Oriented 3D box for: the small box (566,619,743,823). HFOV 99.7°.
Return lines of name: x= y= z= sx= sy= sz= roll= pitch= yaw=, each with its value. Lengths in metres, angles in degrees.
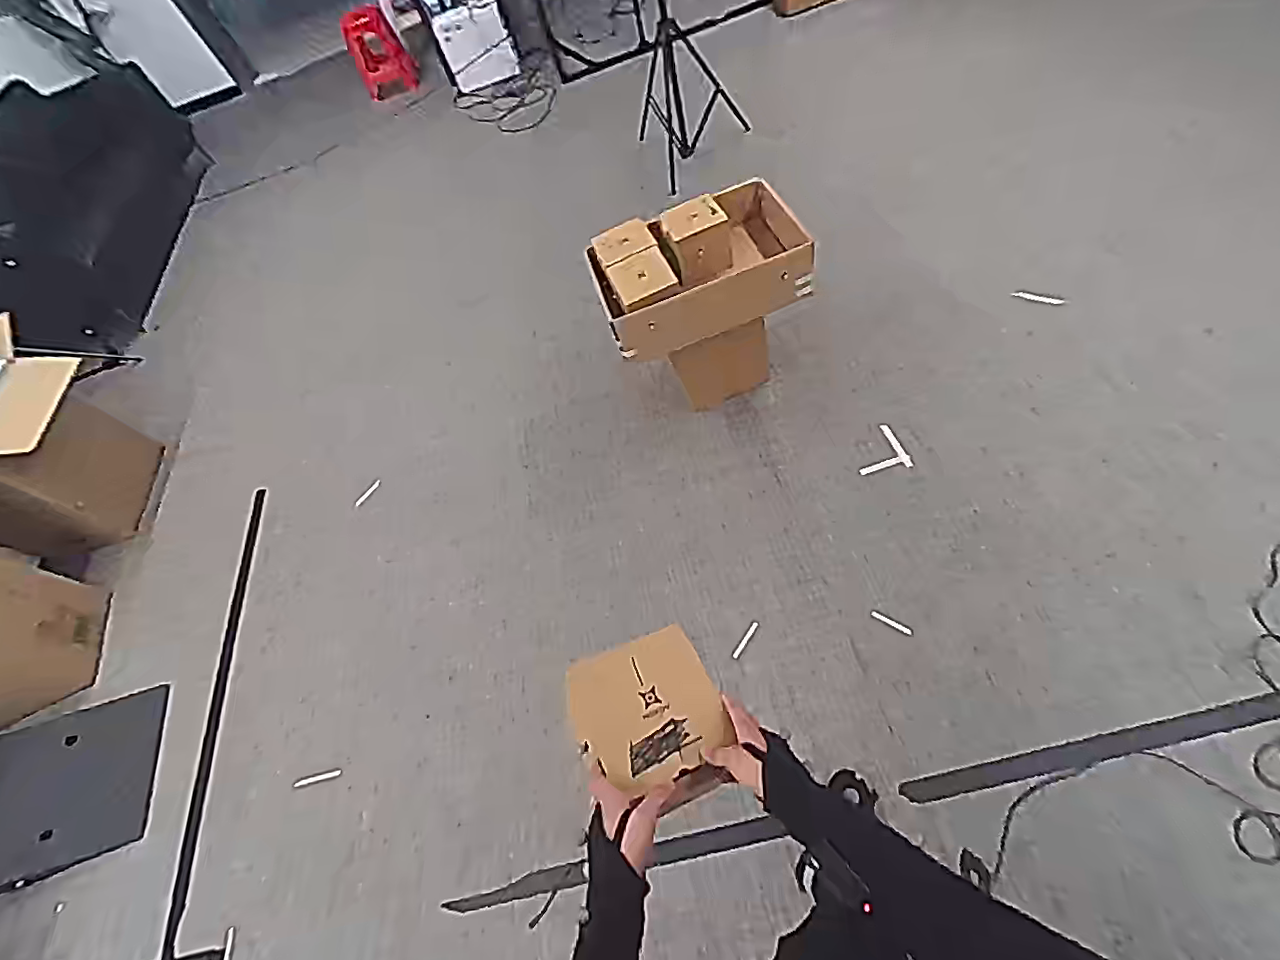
small box: x=0.011 y=0.323 z=0.716 sx=0.168 sy=0.176 sz=0.179 roll=-17 pitch=50 yaw=-19
